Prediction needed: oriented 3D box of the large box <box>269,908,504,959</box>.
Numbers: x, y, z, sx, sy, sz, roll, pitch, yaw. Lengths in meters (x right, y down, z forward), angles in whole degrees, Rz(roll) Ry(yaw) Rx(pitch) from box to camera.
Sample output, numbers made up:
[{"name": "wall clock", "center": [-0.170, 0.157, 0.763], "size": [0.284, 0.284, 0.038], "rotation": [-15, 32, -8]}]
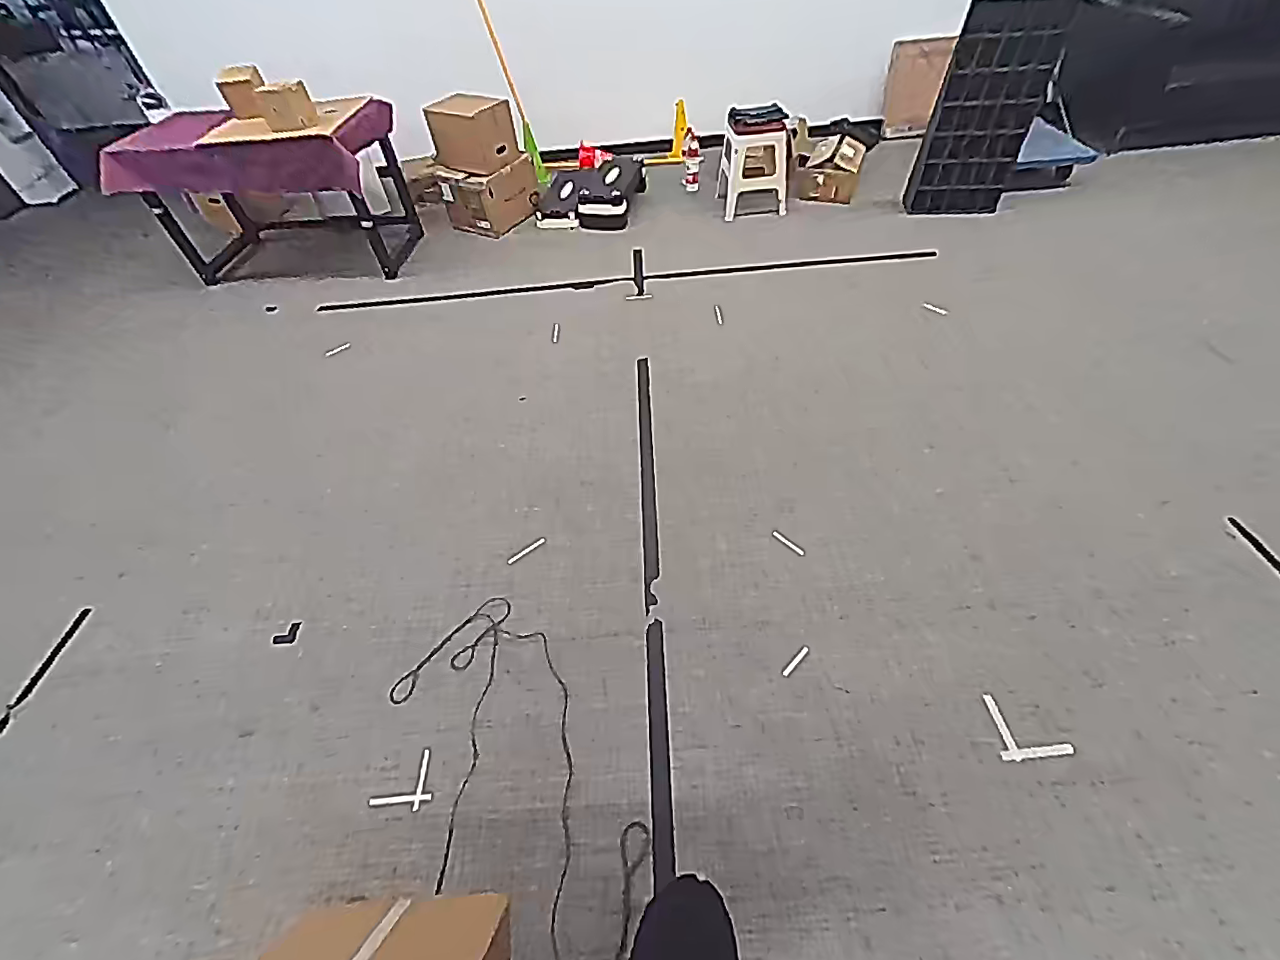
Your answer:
[{"name": "large box", "center": [-0.350, 0.777, 0.611], "size": [0.320, 0.408, 0.320], "rotation": [-4, 79, -1]}]
